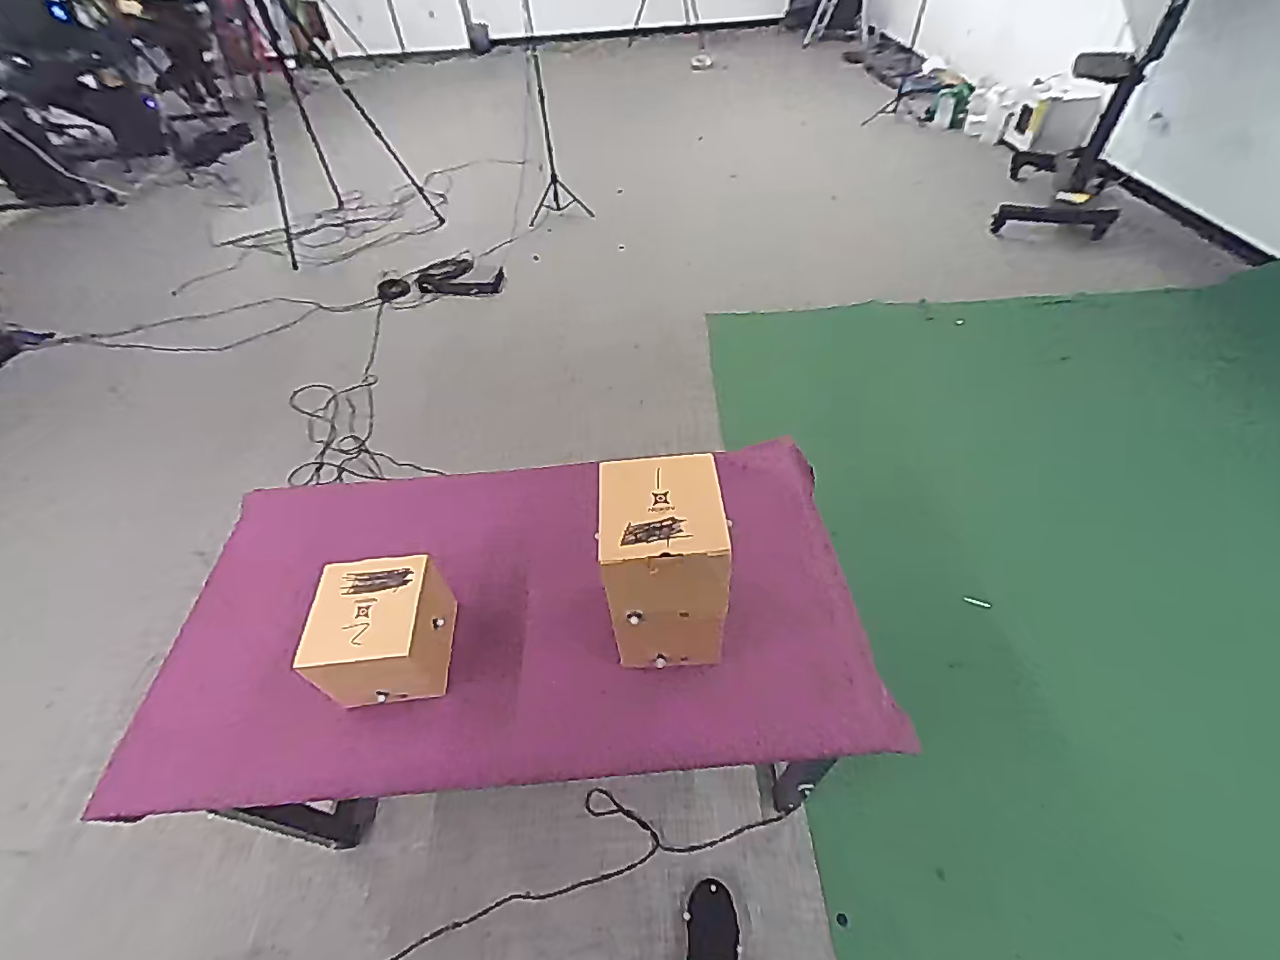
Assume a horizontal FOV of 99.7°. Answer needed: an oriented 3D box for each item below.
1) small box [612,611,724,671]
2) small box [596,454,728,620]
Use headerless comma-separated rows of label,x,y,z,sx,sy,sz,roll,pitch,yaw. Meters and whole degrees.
small box,0.043,0.194,0.893,0.168,0.176,0.179,-4,48,2
small box,0.032,0.087,0.769,0.168,0.176,0.179,-5,46,2
